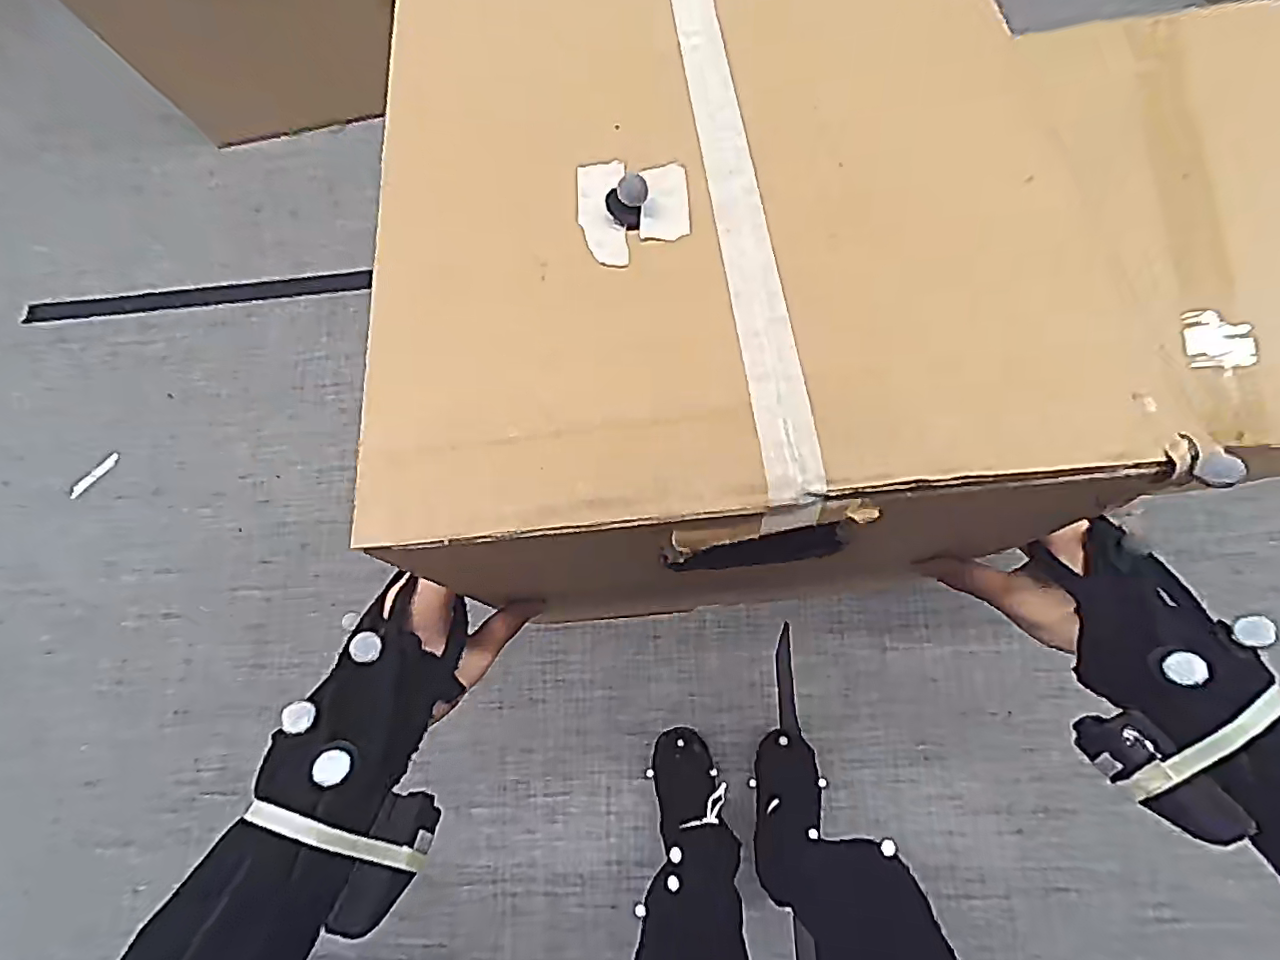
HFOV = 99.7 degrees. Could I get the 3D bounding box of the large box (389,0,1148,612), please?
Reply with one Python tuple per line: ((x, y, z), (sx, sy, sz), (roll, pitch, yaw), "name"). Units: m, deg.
((0.031, -0.131, 0.416), (0.320, 0.320, 0.408), (-7, 71, 0), "large box")
